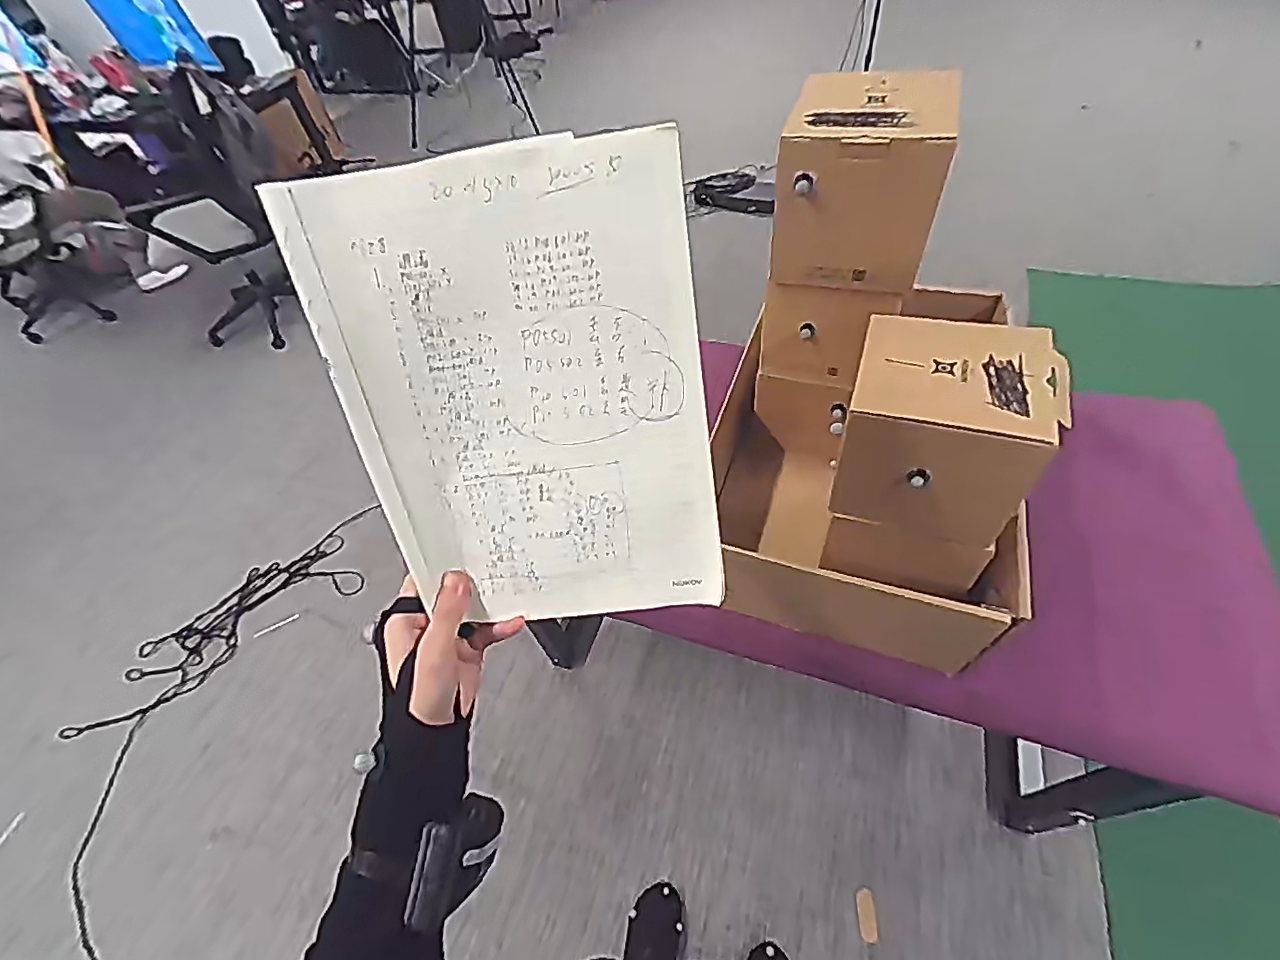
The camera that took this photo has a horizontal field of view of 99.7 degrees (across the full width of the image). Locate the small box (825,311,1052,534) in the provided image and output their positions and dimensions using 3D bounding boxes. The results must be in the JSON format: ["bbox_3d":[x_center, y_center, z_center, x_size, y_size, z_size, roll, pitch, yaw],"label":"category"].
[{"bbox_3d":[0.318,-0.061,0.600,0.179,0.176,0.168,13,53,21],"label":"small box"}]

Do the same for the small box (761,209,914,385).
[{"bbox_3d":[0.274,-0.257,0.771,0.168,0.176,0.179,14,57,18],"label":"small box"}]
